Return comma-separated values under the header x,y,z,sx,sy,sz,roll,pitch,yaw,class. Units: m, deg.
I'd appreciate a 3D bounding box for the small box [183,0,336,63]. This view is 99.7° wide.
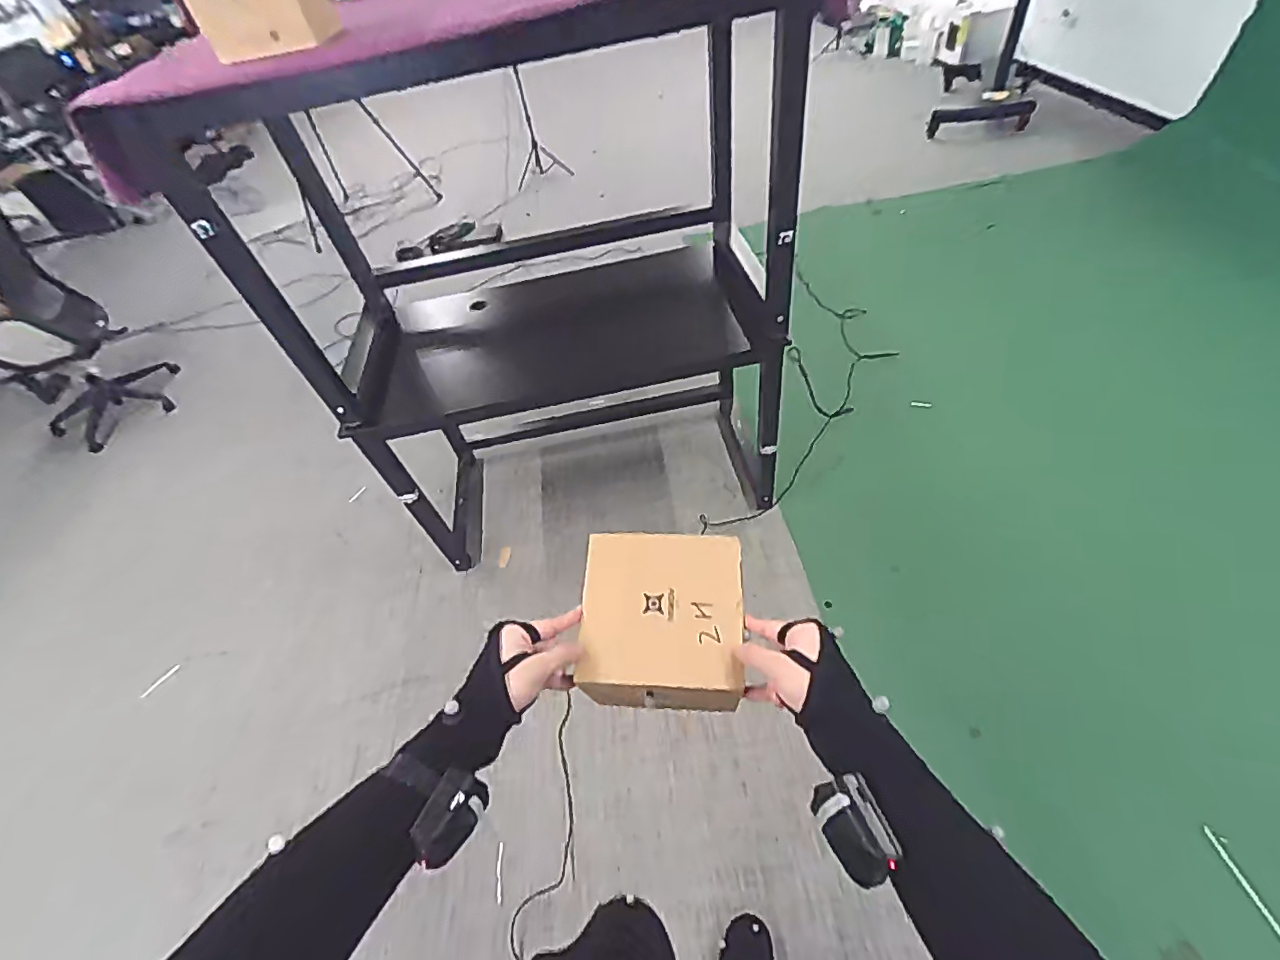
x,y,z,sx,sy,sz,roll,pitch,yaw,class
-0.627,-0.801,0.873,0.168,0.176,0.179,-12,48,1,small box

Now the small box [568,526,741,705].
x,y,z,sx,sy,sz,roll,pitch,yaw,class
0.026,0.165,0.641,0.179,0.176,0.168,1,60,6,small box
